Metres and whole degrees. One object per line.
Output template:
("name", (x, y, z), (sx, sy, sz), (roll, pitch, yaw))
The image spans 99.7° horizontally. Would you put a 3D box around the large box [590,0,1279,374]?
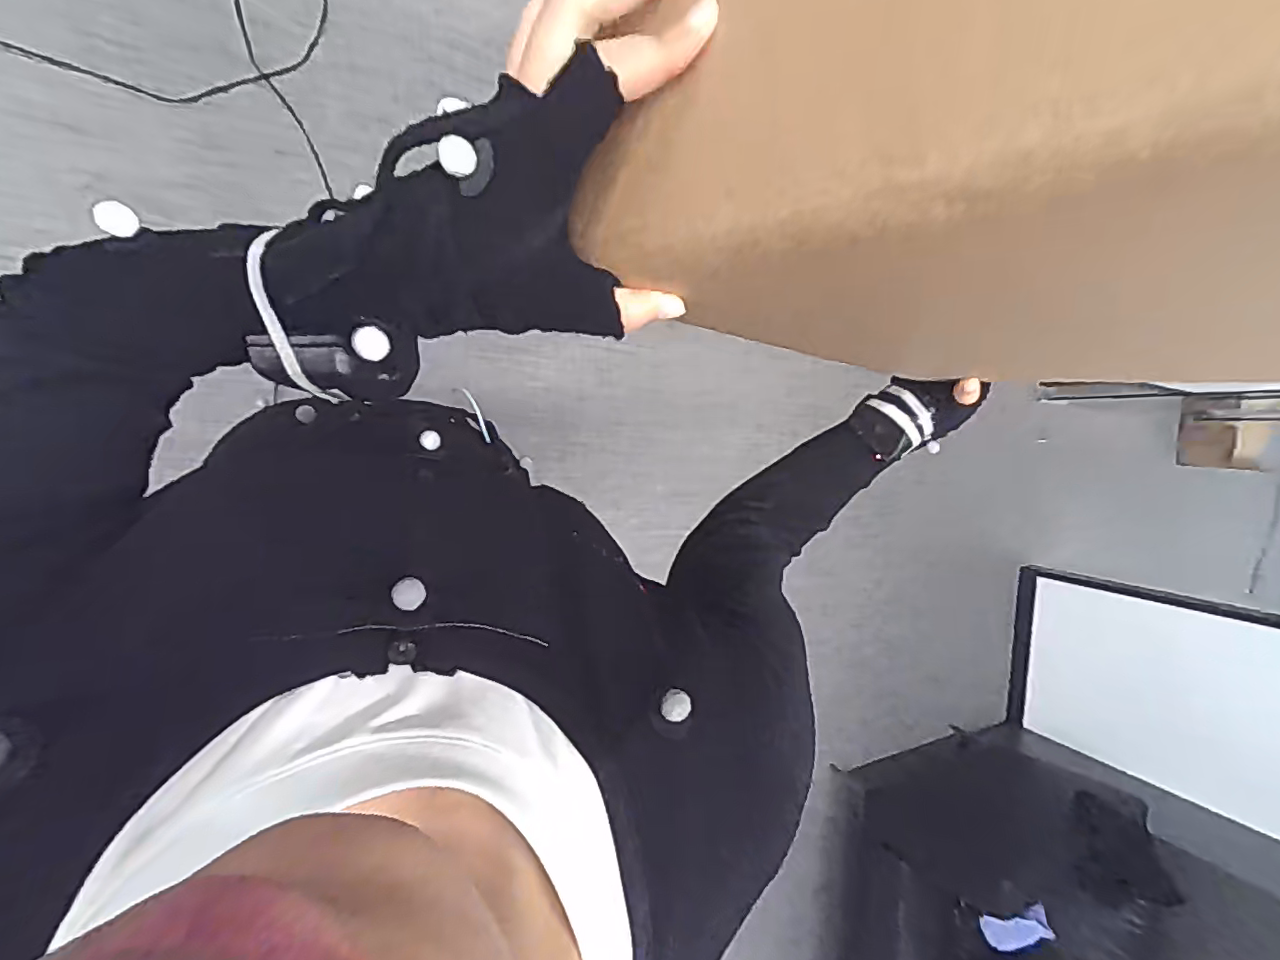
("large box", (0.226, -0.227, 0.259), (0.408, 0.320, 0.320), (-1, 100, -41))
